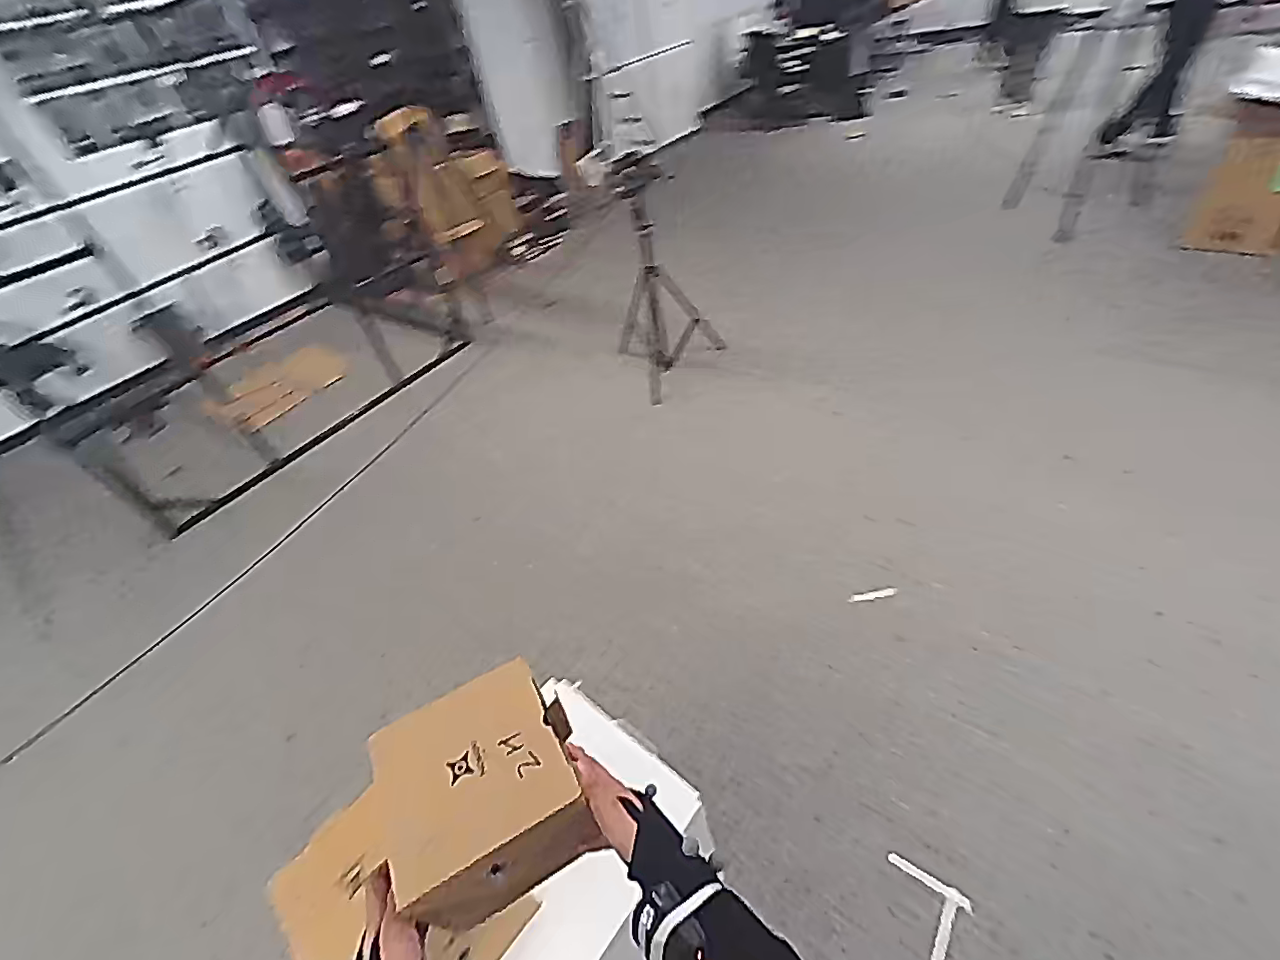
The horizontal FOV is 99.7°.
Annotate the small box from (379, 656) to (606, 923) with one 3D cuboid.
[{"bbox_3d":[-0.153,0.335,0.587,0.179,0.176,0.168,-23,46,-16],"label":"small box"}]

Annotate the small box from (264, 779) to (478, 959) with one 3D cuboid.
[{"bbox_3d":[-0.329,0.538,0.697,0.179,0.176,0.168,27,55,36],"label":"small box"}]

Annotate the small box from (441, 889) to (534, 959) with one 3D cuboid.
[{"bbox_3d":[-0.290,0.645,0.814,0.168,0.176,0.179,26,54,35],"label":"small box"}]
